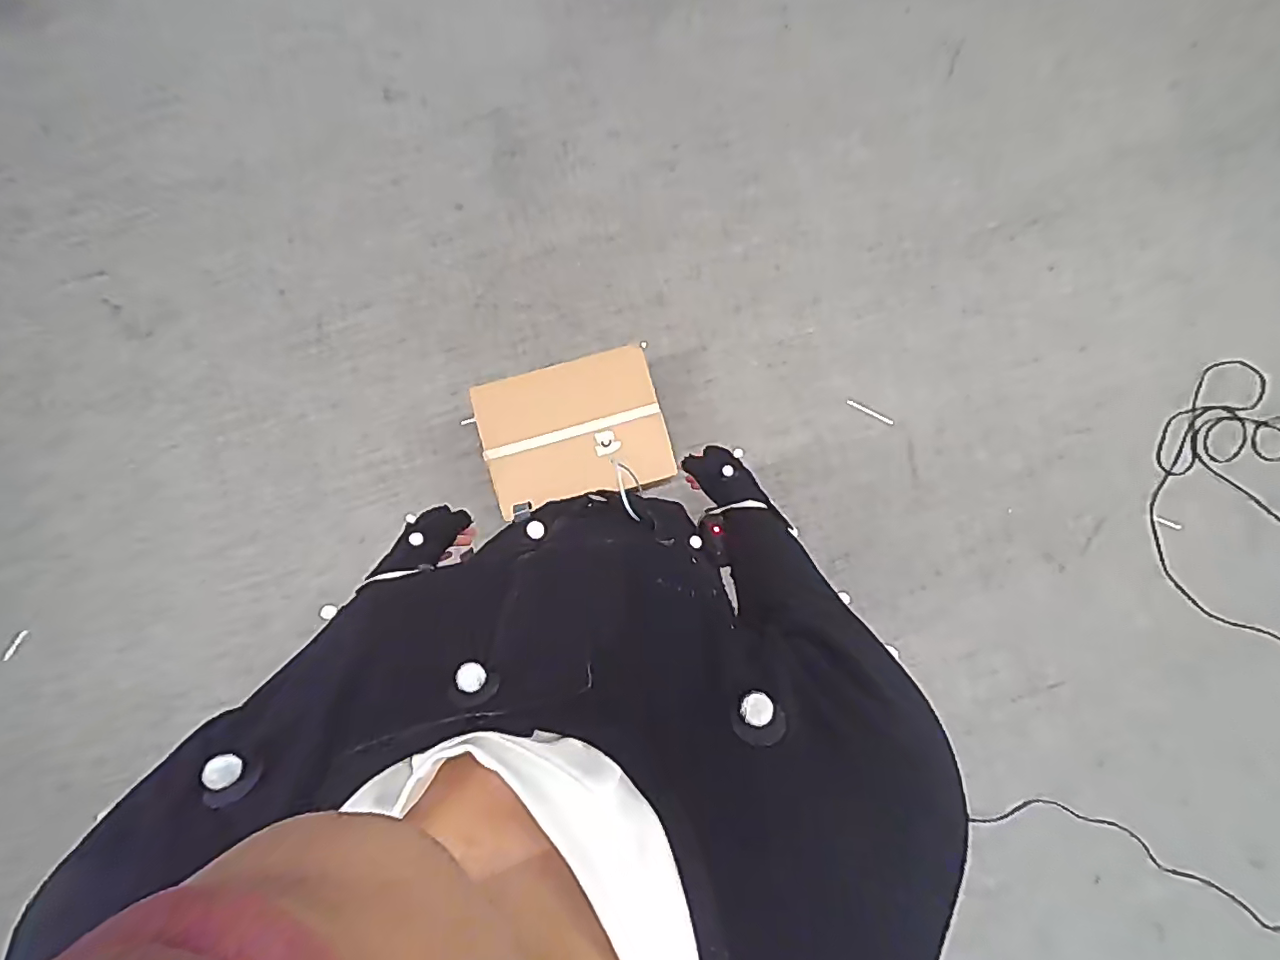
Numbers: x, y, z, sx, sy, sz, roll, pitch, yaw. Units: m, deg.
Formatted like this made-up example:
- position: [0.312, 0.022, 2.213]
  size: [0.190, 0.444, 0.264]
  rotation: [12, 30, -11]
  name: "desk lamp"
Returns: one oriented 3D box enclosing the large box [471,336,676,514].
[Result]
- position: [-0.152, -0.117, 1.352]
  size: [0.408, 0.320, 0.320]
  rotation: [-15, 89, -2]
  name: "large box"
